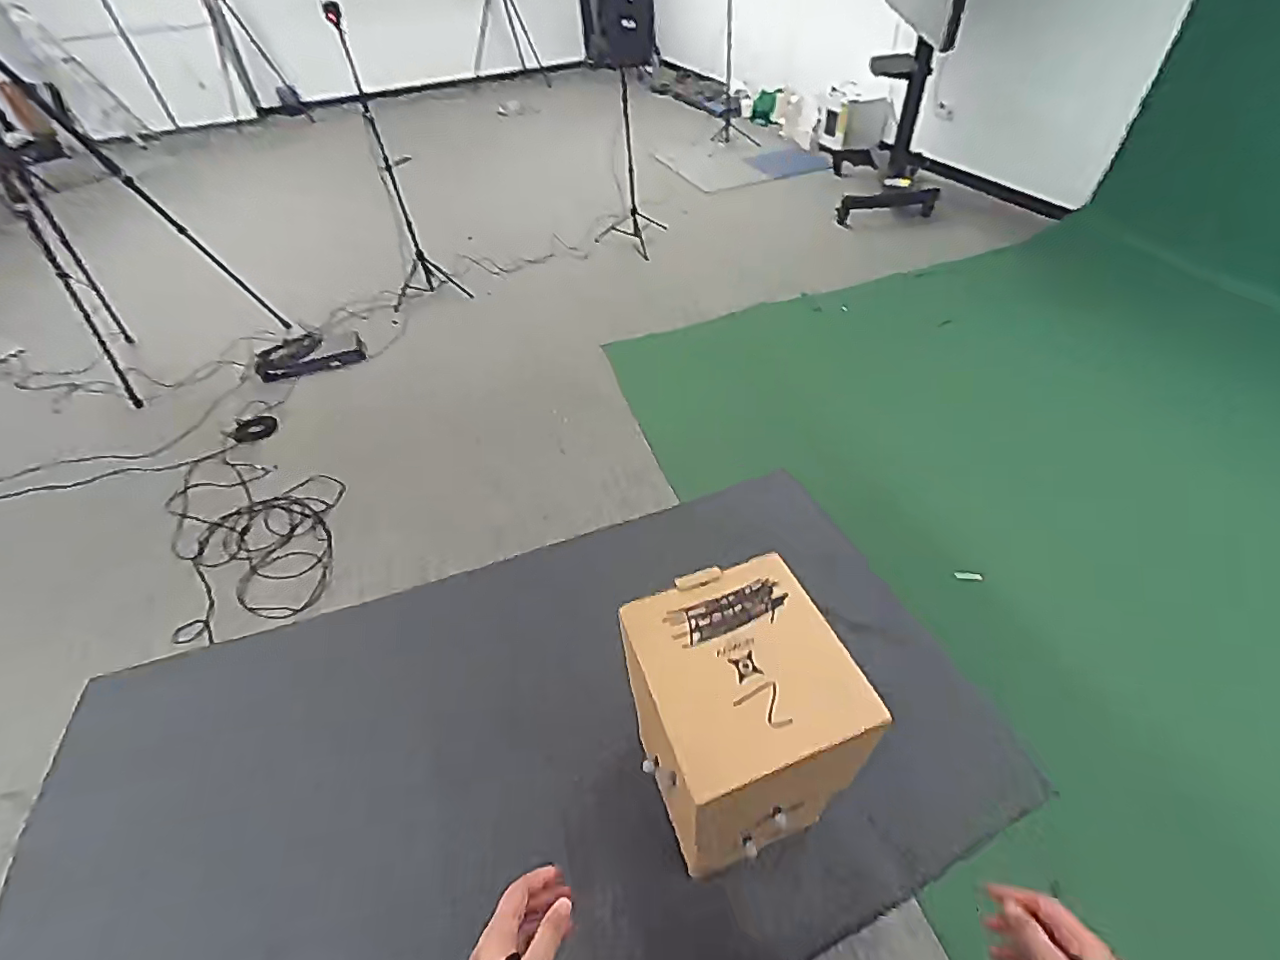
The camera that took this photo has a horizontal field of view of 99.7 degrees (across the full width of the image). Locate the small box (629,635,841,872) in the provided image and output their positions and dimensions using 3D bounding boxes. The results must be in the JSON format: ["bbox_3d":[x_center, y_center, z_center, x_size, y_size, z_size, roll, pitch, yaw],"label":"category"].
[{"bbox_3d":[0.098,0.316,0.619,0.168,0.176,0.179,-17,46,-11],"label":"small box"}]
